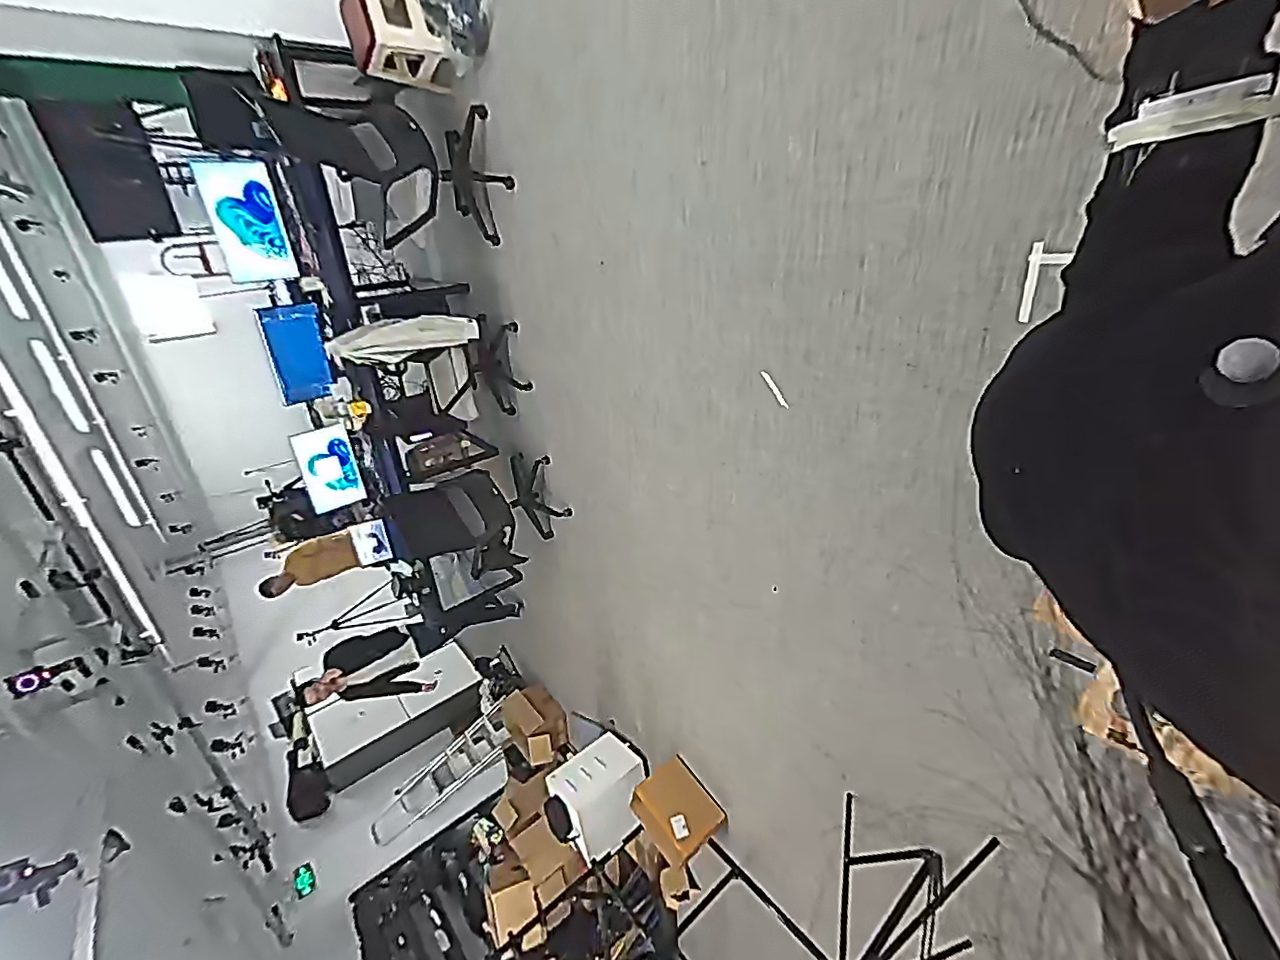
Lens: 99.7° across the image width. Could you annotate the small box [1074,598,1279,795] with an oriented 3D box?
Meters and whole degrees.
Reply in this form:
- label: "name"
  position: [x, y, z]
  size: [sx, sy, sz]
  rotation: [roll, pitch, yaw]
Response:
- label: "small box"
  position: [0.802, 0.310, 0.808]
  size: [0.168, 0.176, 0.179]
  rotation: [31, 132, 42]
